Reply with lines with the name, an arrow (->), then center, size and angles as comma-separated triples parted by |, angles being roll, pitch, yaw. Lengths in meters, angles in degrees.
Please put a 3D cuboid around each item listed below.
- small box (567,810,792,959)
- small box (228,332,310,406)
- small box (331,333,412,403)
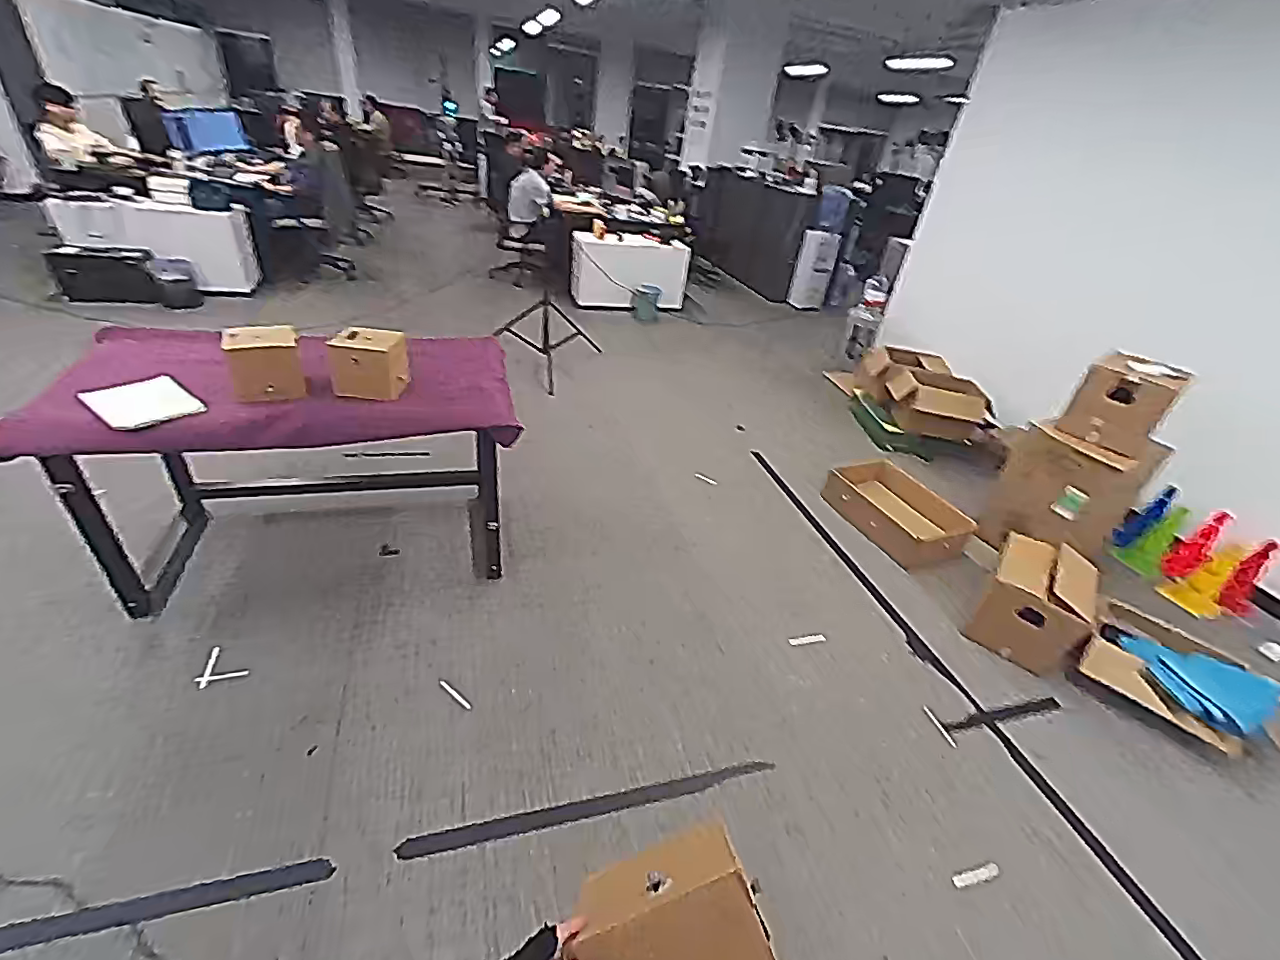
small box -> 0.046, 0.455, 0.526 | 0.179, 0.176, 0.168 | -22, 71, -5
small box -> -1.107, -0.335, 1.627 | 0.179, 0.176, 0.168 | -11, 37, -27
small box -> -0.841, -0.353, 1.709 | 0.179, 0.176, 0.168 | 5, 32, -5
